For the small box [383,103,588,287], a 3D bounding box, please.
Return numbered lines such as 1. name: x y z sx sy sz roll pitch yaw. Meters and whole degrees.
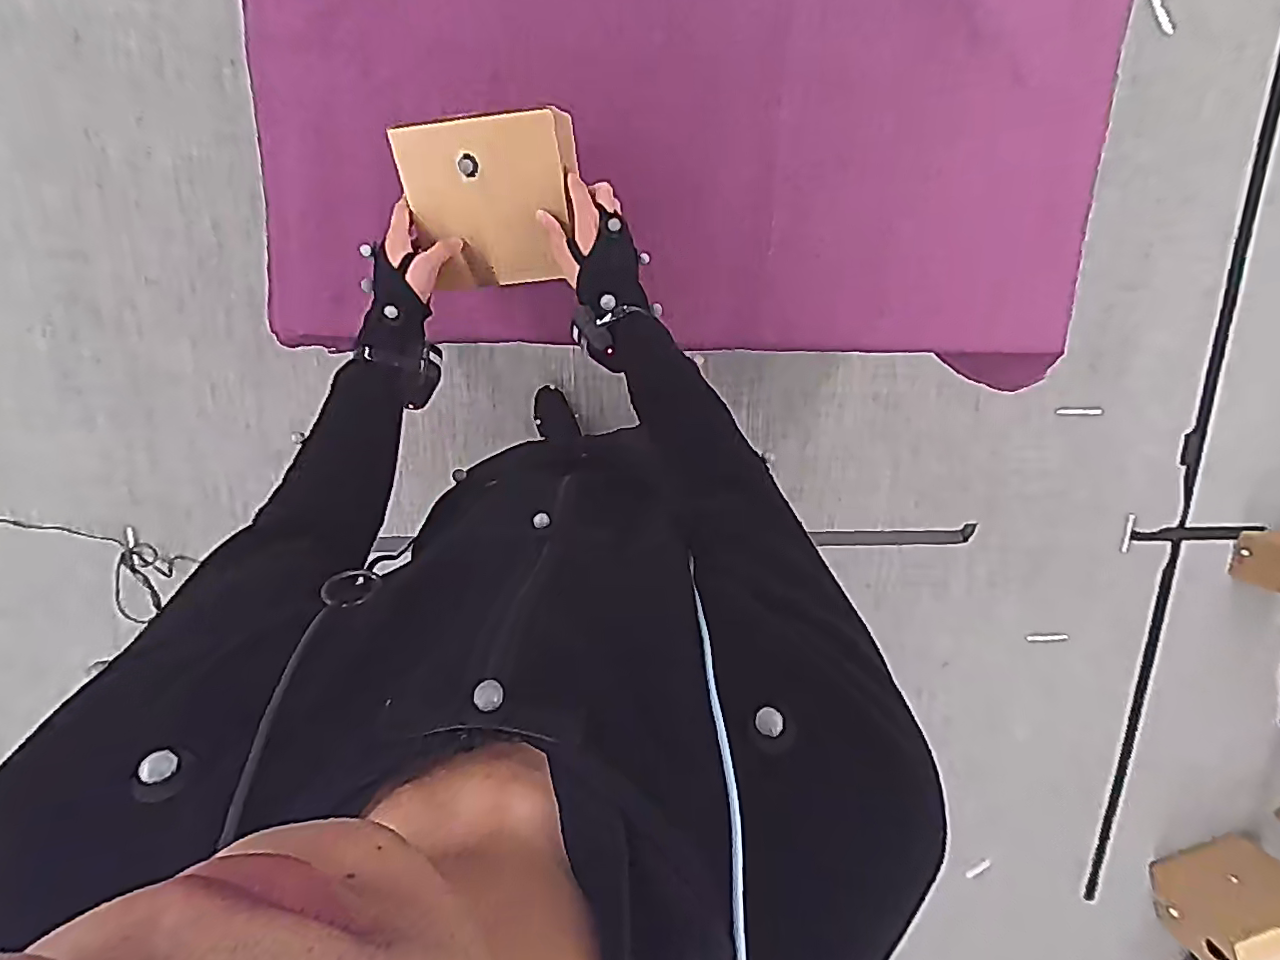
1. small box: -0.167 -0.337 0.651 0.179 0.168 0.176 -4 122 3
